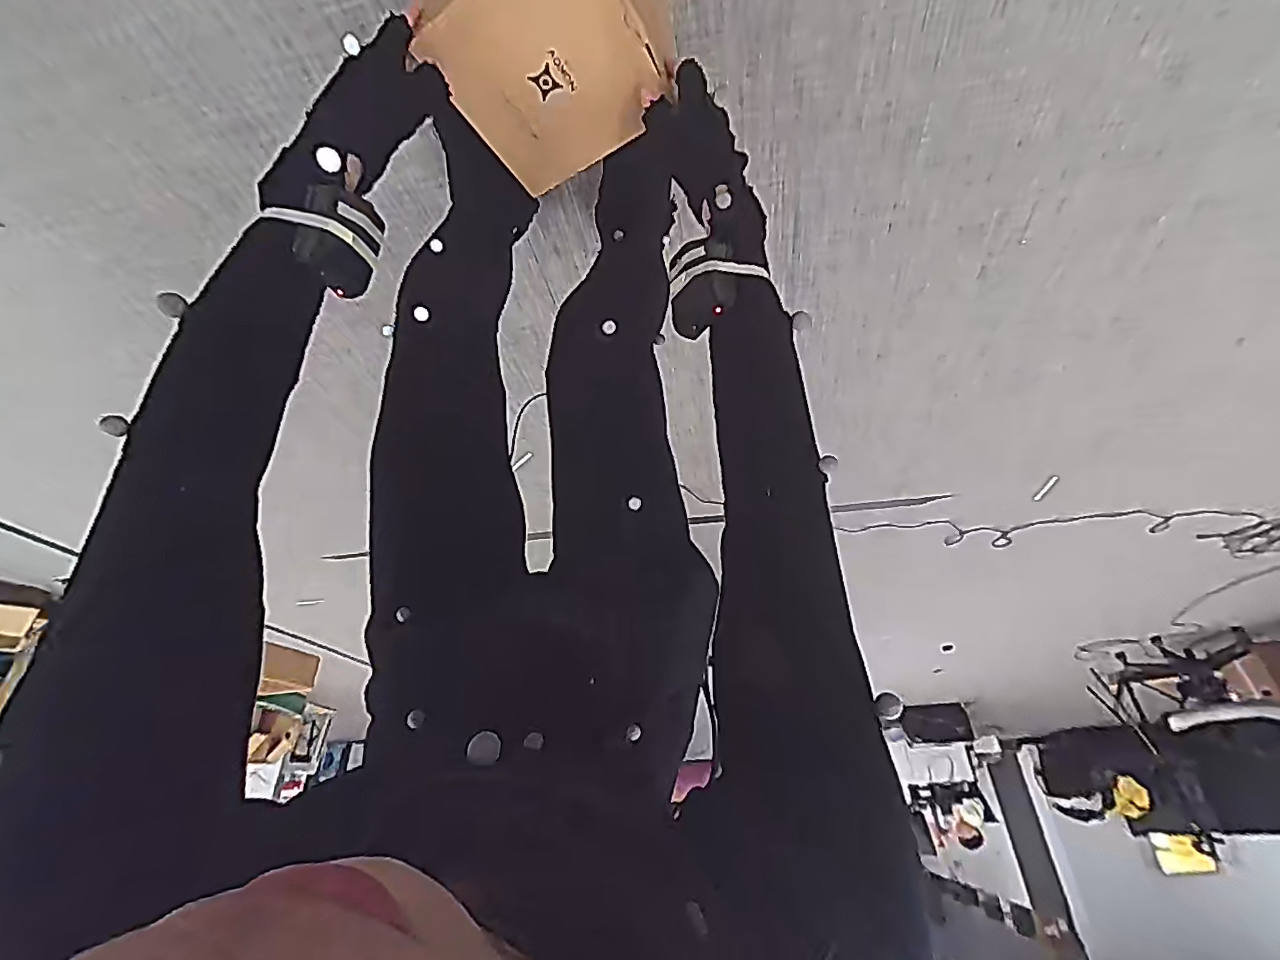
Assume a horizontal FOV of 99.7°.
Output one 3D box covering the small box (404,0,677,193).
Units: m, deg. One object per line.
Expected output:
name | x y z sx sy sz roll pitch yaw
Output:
small box | -0.082 -0.421 0.498 0.179 0.176 0.168 -16 149 27
